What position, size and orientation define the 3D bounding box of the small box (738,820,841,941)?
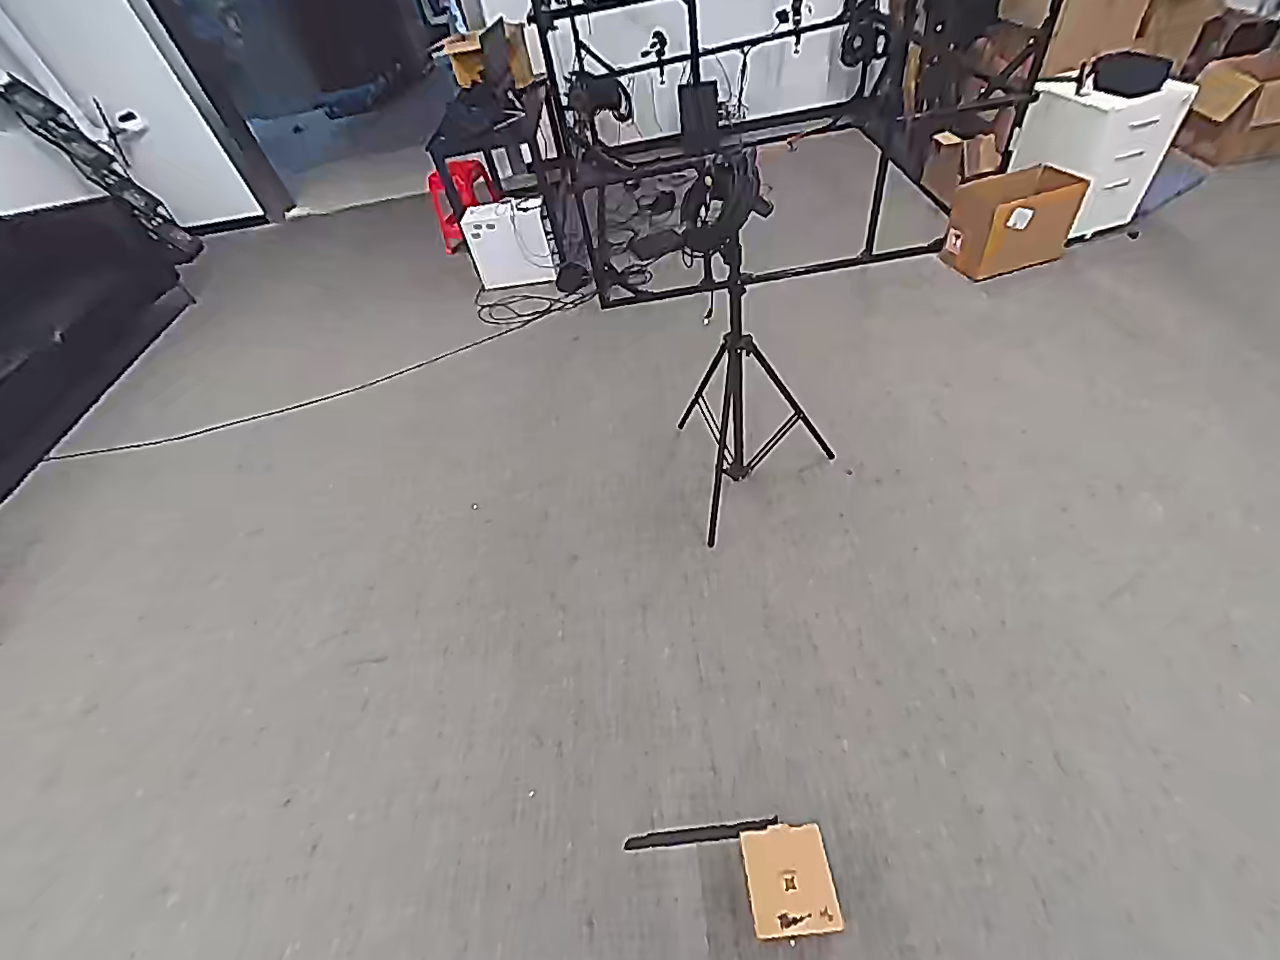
[{"bbox_3d":[0.302,0.839,1.133,0.168,0.176,0.179,-9,46,3],"label":"small box"}]
